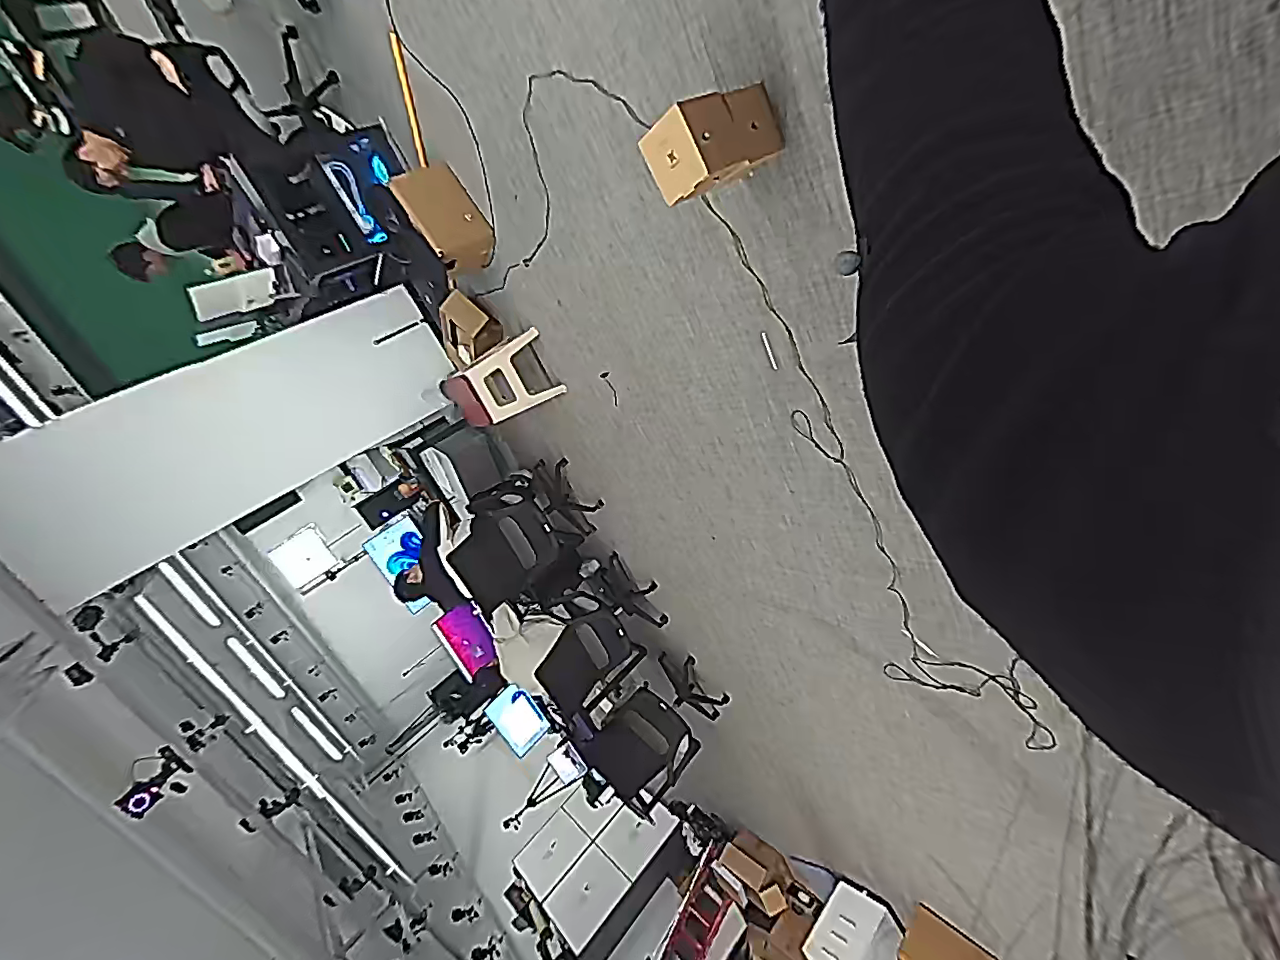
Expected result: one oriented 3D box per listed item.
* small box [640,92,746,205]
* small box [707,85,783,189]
[{"bbox_3d":[0.139,-0.846,1.380,0.168,0.176,0.179,-8,114,56],"label":"small box"},{"bbox_3d":[0.253,-0.929,1.460,0.168,0.176,0.179,-2,121,55],"label":"small box"}]
